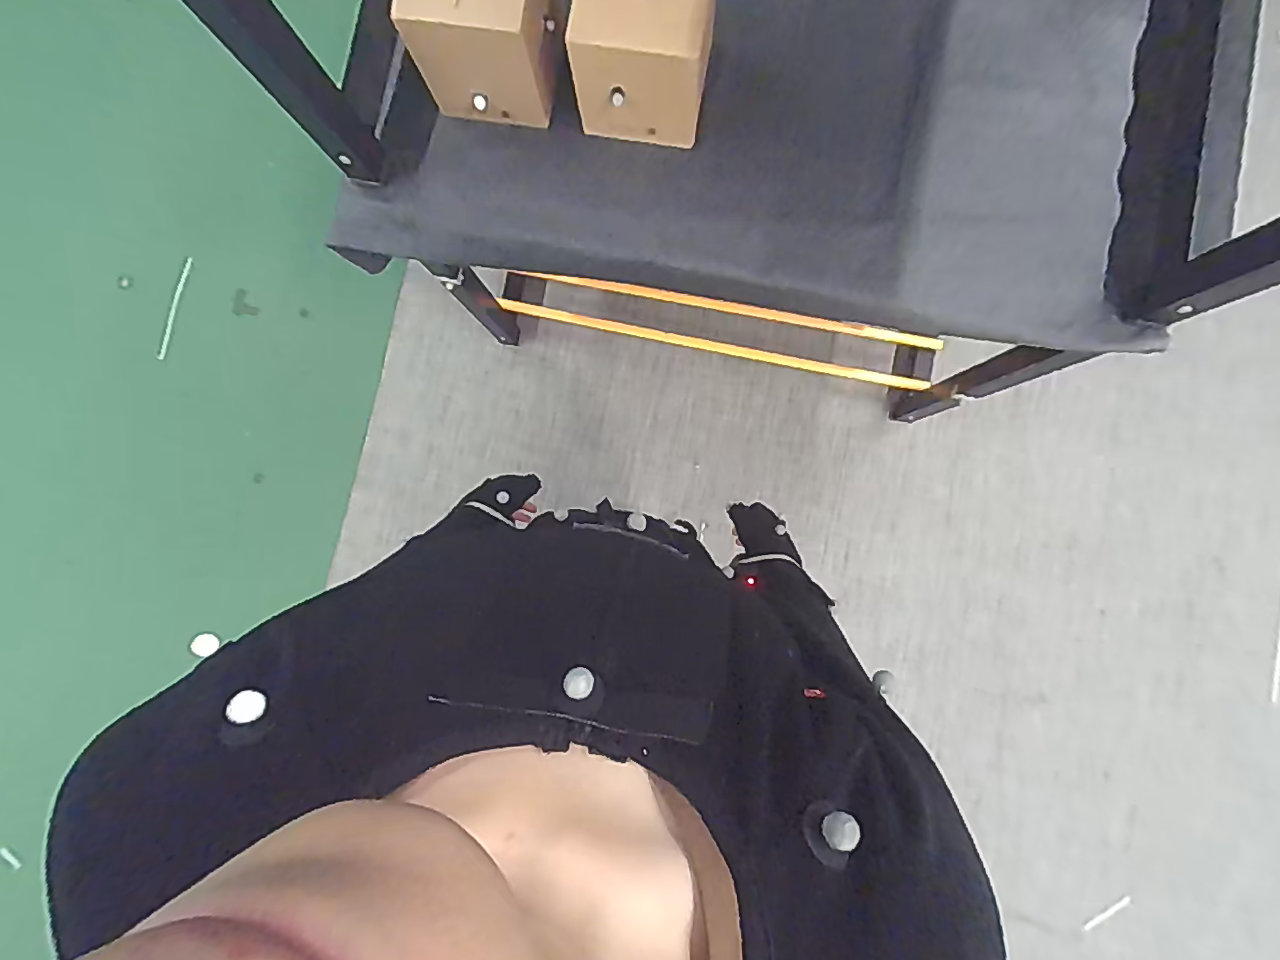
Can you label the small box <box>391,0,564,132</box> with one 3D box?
[{"bbox_3d":[-0.207,-0.624,0.738,0.168,0.176,0.179,9,87,3],"label":"small box"}]
